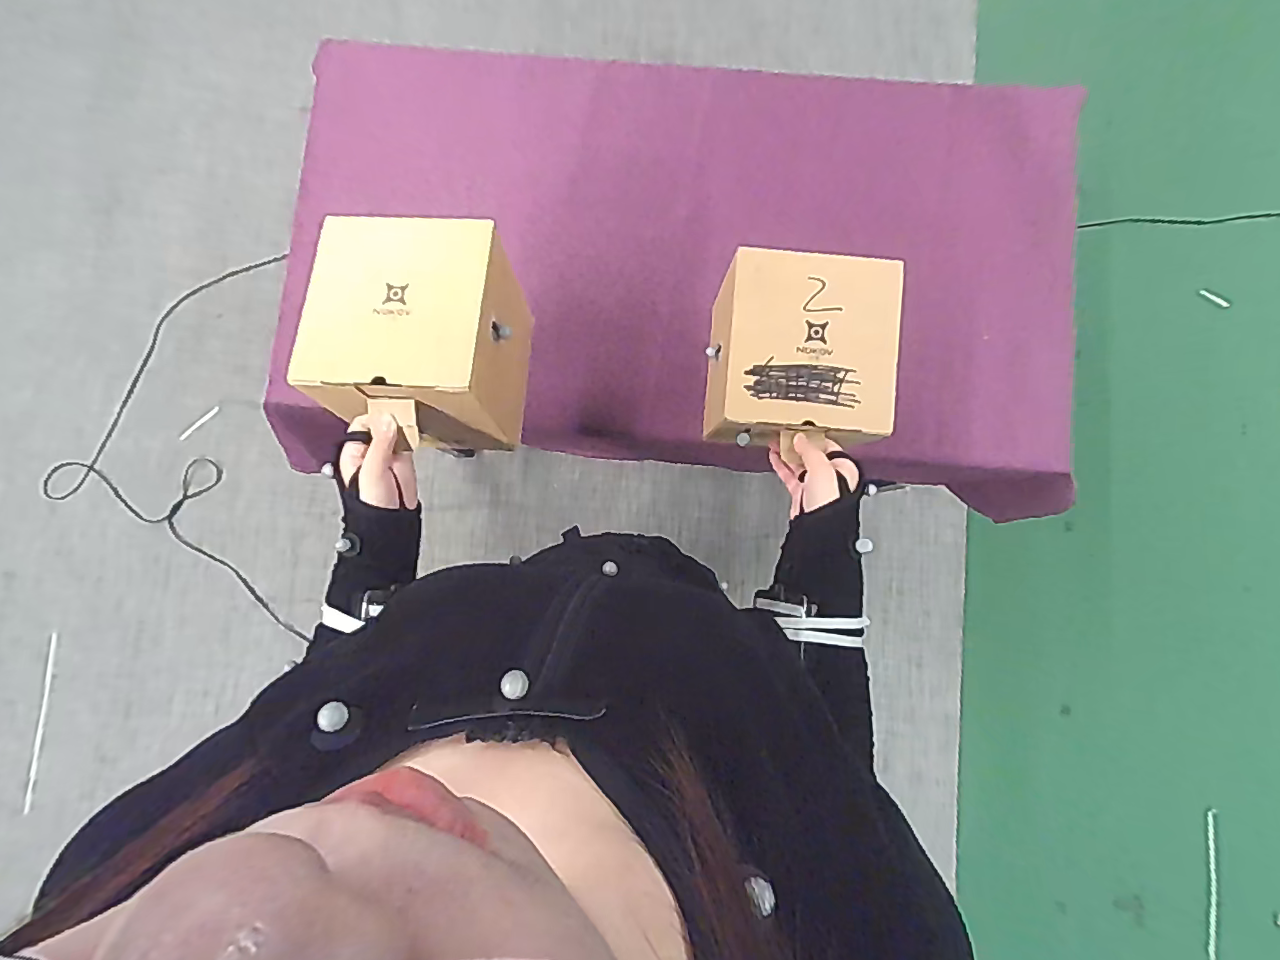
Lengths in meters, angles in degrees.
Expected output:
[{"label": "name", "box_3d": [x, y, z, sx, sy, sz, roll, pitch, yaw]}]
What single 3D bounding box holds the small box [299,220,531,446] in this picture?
[{"label": "small box", "box_3d": [-0.221, -0.148, 0.585, 0.168, 0.176, 0.179, 3, 77, 3]}]
